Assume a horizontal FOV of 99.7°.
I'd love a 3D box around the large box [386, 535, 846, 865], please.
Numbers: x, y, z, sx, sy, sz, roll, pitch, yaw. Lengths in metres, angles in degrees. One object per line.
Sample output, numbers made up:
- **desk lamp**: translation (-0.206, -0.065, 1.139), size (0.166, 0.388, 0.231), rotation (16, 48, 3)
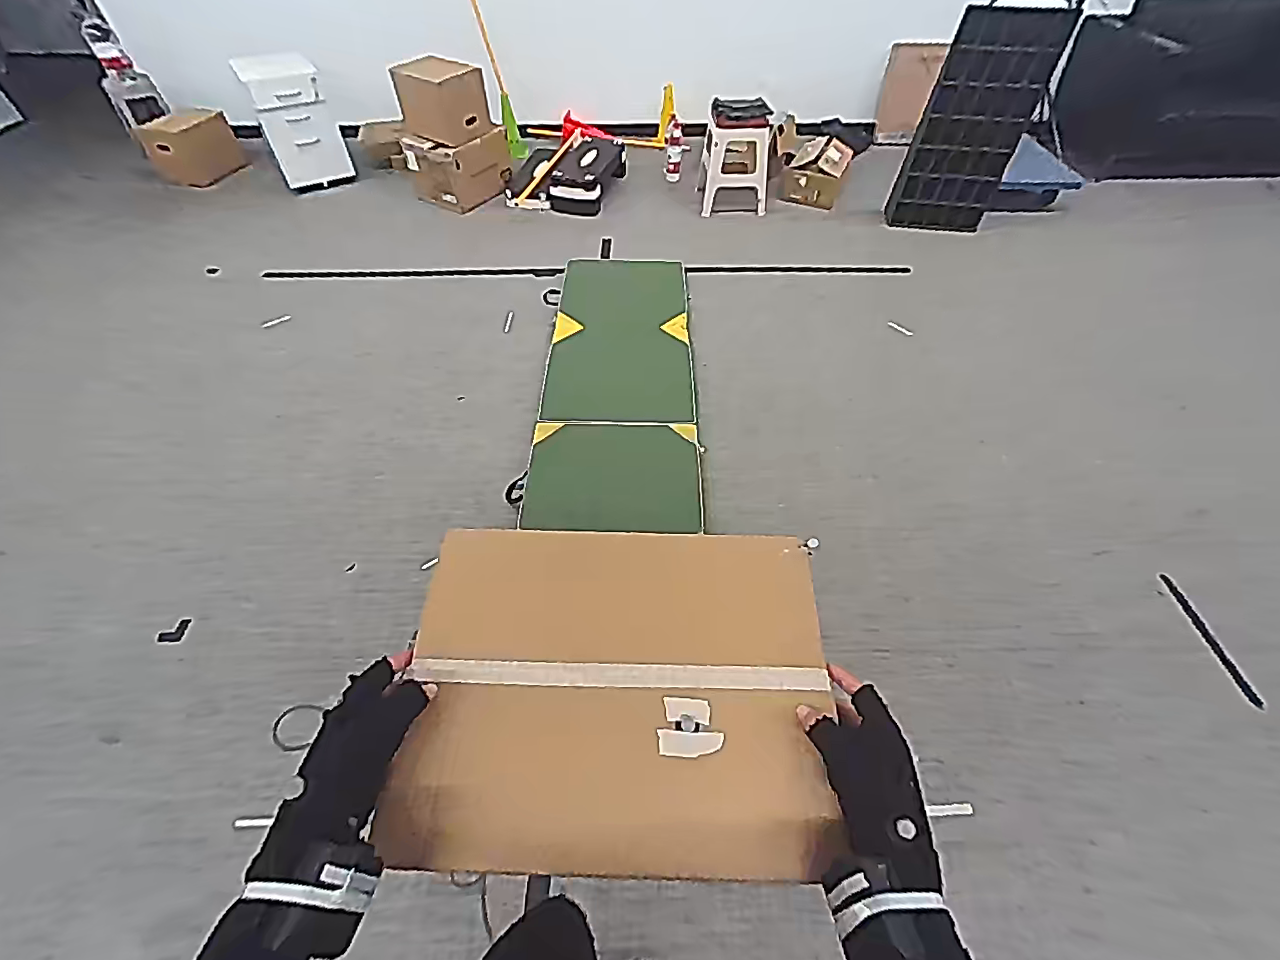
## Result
- **large box**: translation (-0.022, 0.279, 0.665), size (0.408, 0.320, 0.320), rotation (2, 56, 0)
